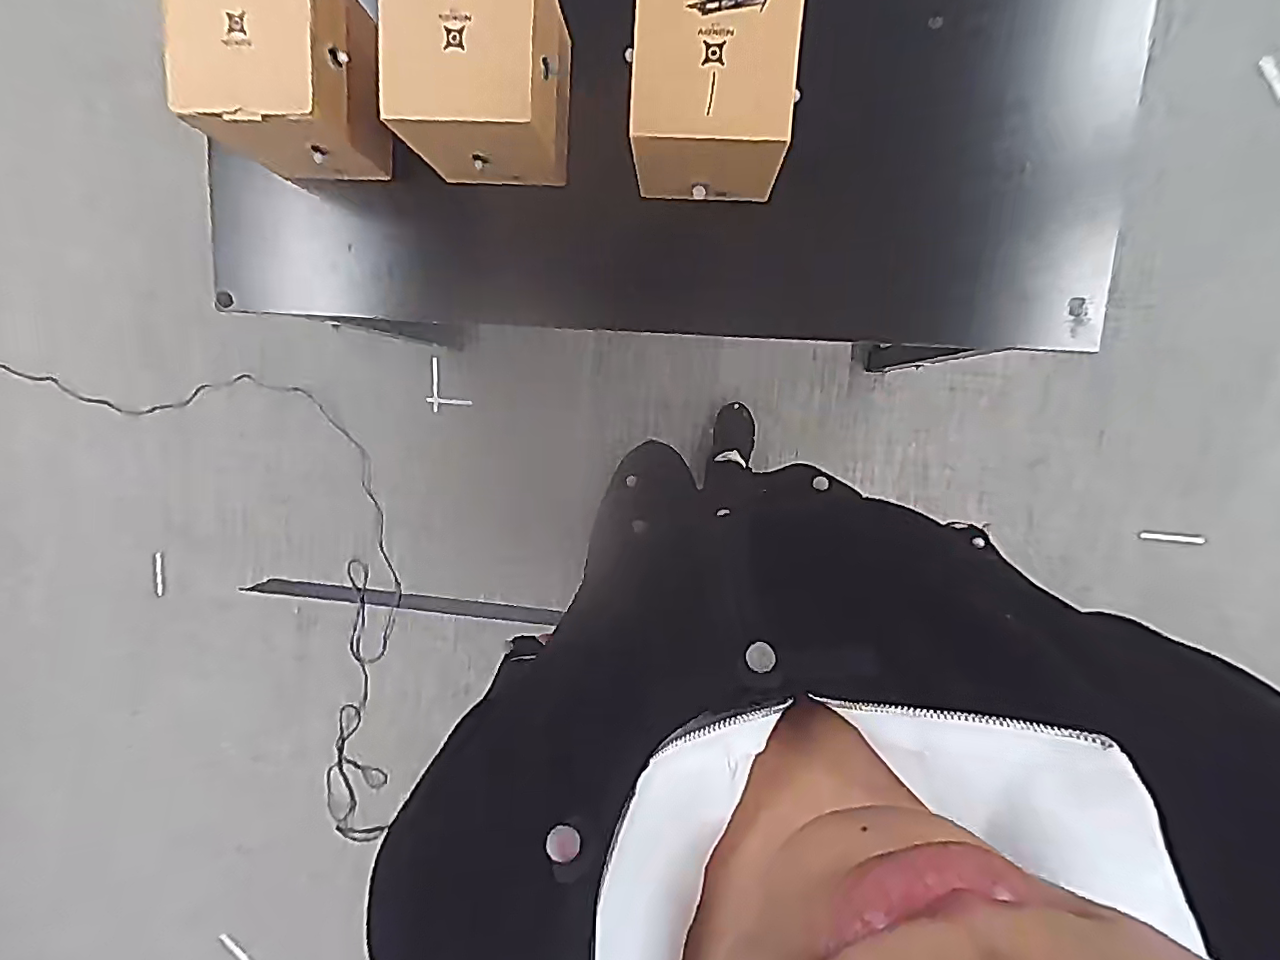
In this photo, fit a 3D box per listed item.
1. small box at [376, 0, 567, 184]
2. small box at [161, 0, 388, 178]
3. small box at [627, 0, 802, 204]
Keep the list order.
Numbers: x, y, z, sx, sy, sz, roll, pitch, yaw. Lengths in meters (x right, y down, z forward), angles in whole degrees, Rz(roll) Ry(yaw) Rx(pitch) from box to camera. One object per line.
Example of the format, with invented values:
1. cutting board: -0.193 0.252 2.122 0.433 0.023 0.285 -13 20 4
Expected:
1. small box: -0.184 -0.470 0.633 0.168 0.176 0.179 4 98 3
2. small box: -0.423 -0.488 0.652 0.168 0.176 0.179 3 96 3
3. small box: 0.079 -0.441 0.616 0.168 0.176 0.179 4 98 4
